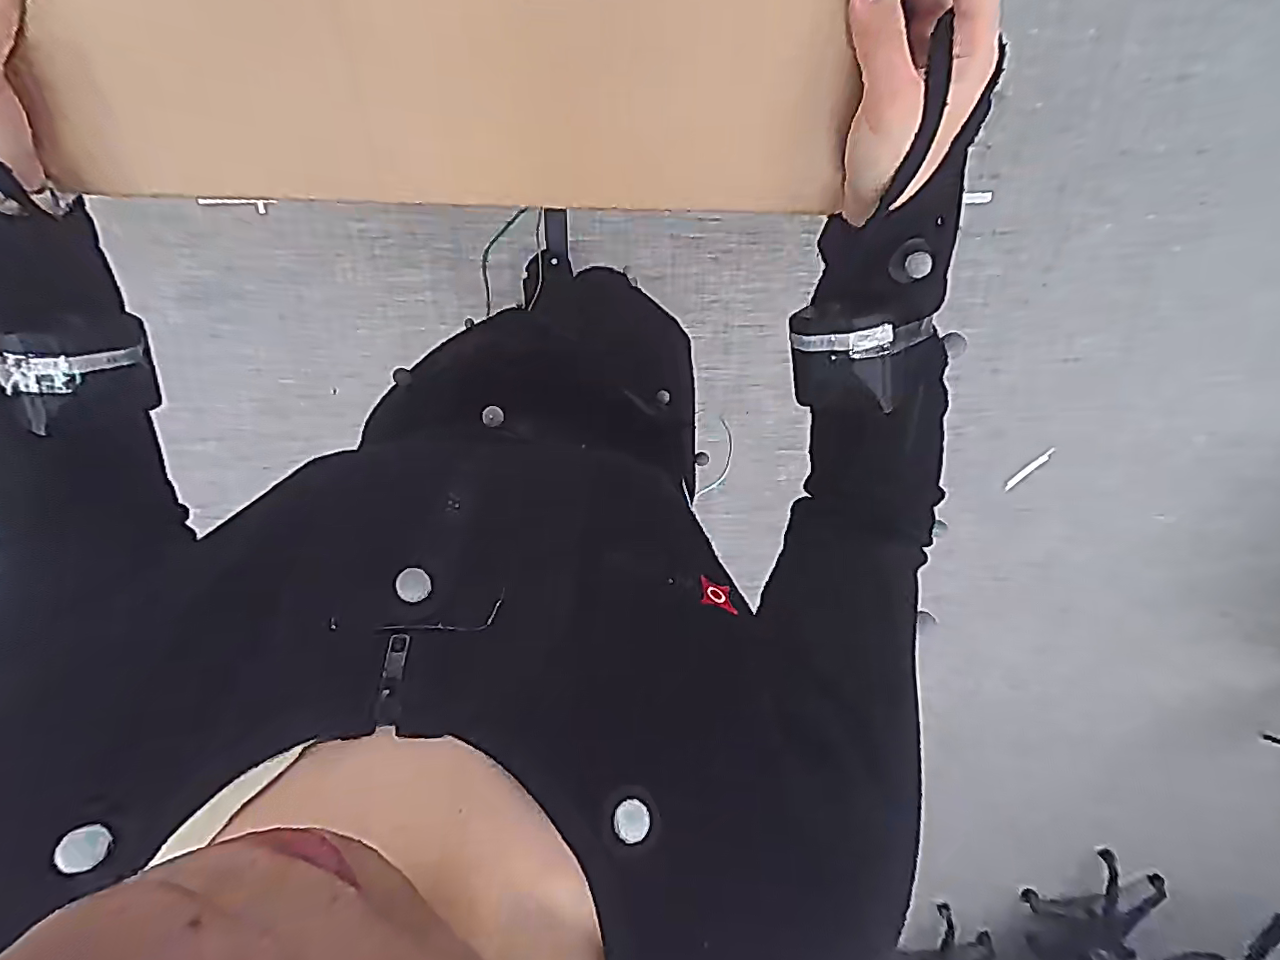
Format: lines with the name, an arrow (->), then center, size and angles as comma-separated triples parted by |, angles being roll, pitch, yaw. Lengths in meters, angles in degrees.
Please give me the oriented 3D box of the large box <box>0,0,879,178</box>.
large box -> -0.094, -0.375, 0.297 | 0.408, 0.320, 0.320 | 0, 132, -3
